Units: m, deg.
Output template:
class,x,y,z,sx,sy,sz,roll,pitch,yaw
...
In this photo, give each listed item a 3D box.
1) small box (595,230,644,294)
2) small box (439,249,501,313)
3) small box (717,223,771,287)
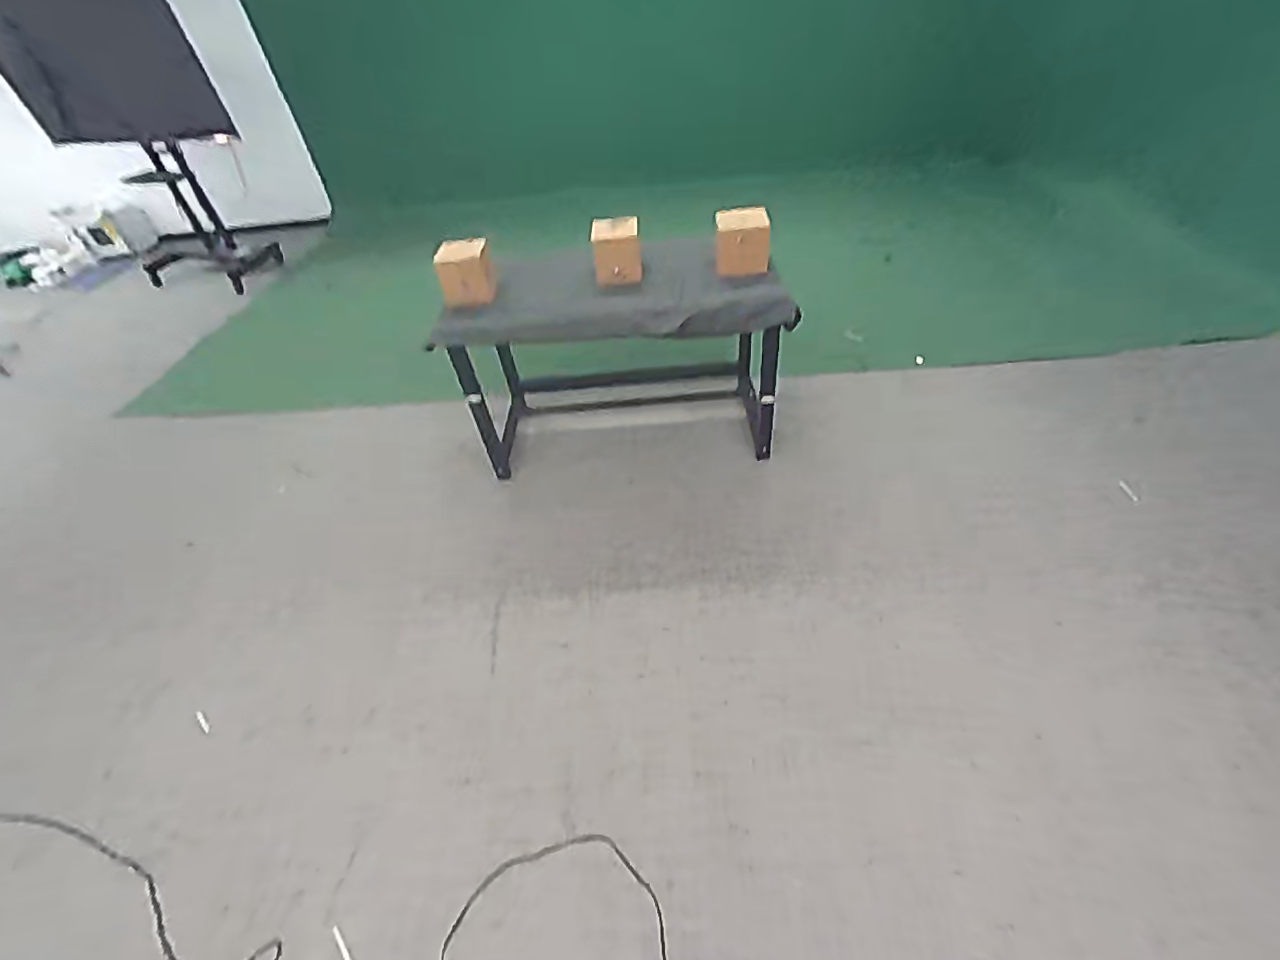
class,x,y,z,sx,sy,sz,roll,pitch,yaw
small box,-0.073,-0.809,2.010,0.168,0.176,0.179,-4,44,3
small box,-0.619,-0.729,1.993,0.168,0.176,0.179,-5,44,1
small box,0.371,-0.812,1.958,0.179,0.176,0.168,-2,45,4
